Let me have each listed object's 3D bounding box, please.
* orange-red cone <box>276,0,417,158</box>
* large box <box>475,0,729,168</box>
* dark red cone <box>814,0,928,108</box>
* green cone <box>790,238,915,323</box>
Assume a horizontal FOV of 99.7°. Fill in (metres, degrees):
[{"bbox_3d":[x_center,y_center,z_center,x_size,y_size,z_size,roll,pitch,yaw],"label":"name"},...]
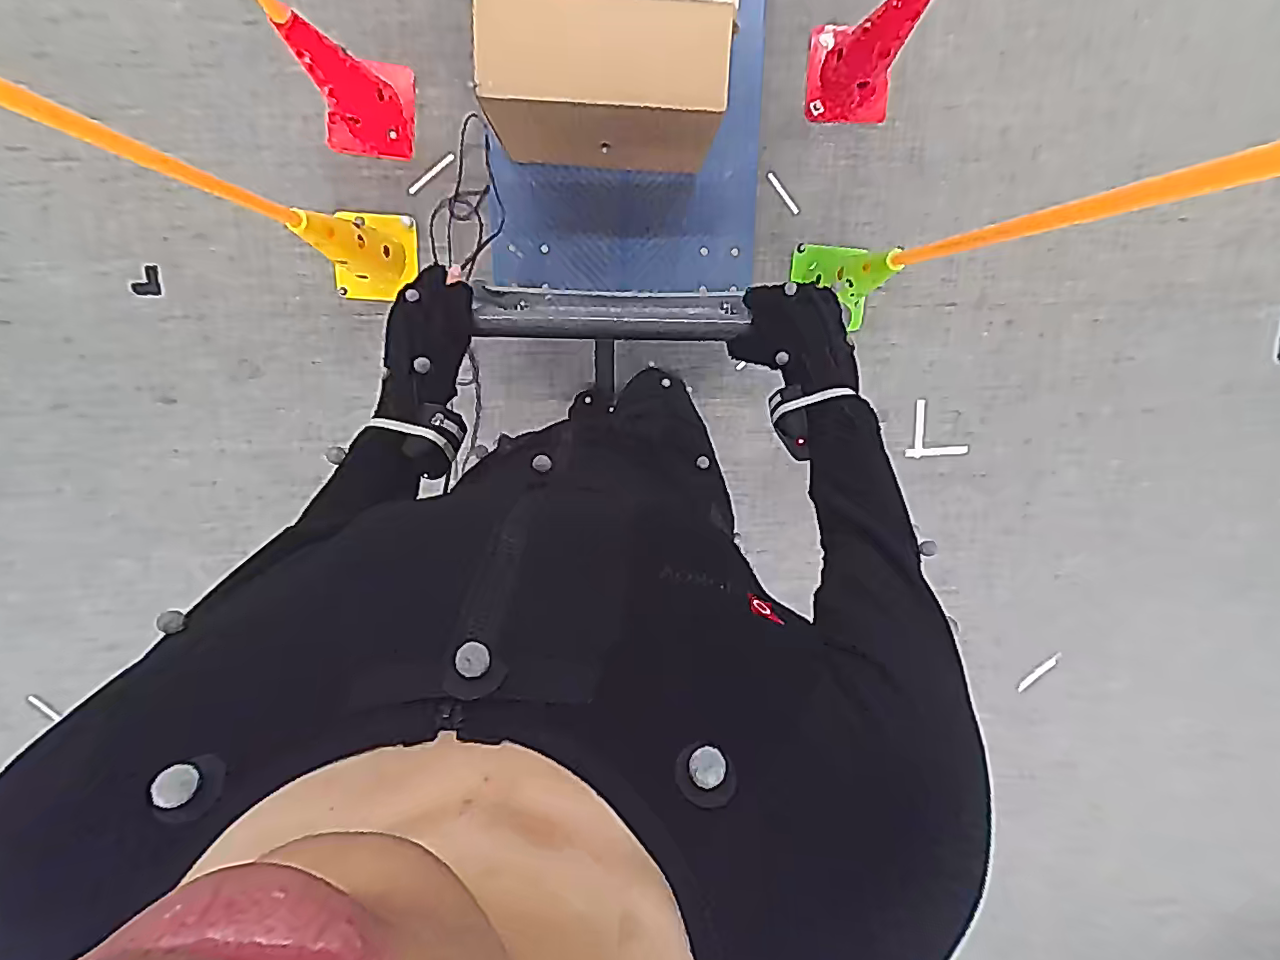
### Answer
[{"bbox_3d":[-0.617,-0.843,1.099,0.198,0.360,0.199,6,100,-4],"label":"orange-red cone"},{"bbox_3d":[-0.059,-0.785,0.982,0.408,0.320,0.320,2,103,-2],"label":"large box"},{"bbox_3d":[0.512,-0.942,1.094,0.201,0.394,0.202,-1,102,-4],"label":"dark red cone"},{"bbox_3d":[0.496,-0.471,1.211,0.202,0.368,0.200,3,102,-4],"label":"green cone"}]
